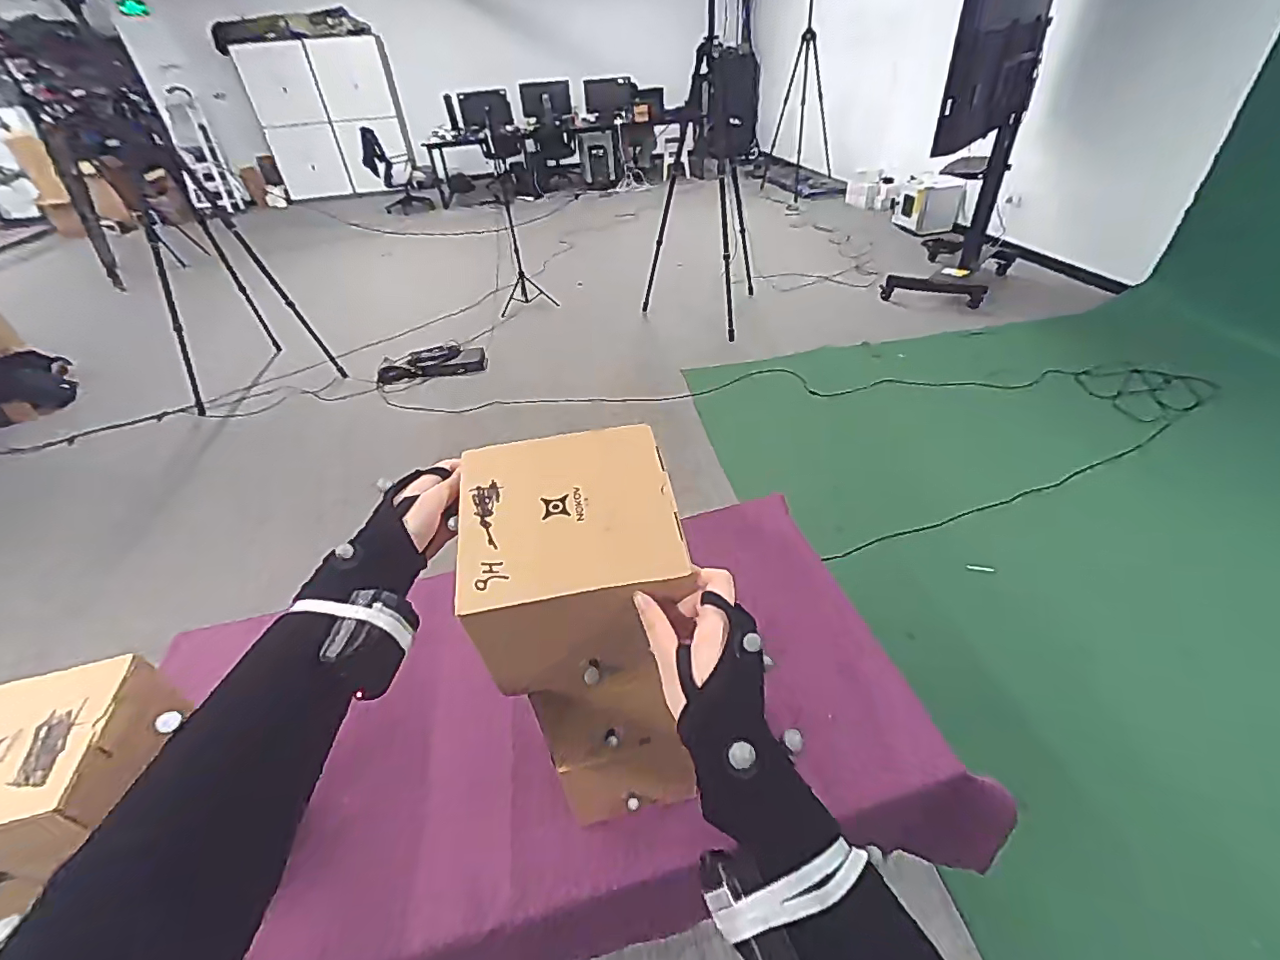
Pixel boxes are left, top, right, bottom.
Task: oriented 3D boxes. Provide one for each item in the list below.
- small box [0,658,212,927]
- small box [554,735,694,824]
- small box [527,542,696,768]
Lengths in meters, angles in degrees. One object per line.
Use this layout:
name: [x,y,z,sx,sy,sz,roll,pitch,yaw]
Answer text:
small box: [-0.595,0.319,0.555,0.179,0.176,0.168,-13,39,-10]
small box: [-0.027,0.330,0.740,0.168,0.176,0.179,-11,39,-6]
small box: [-0.036,0.203,0.638,0.168,0.176,0.179,-10,40,-6]
